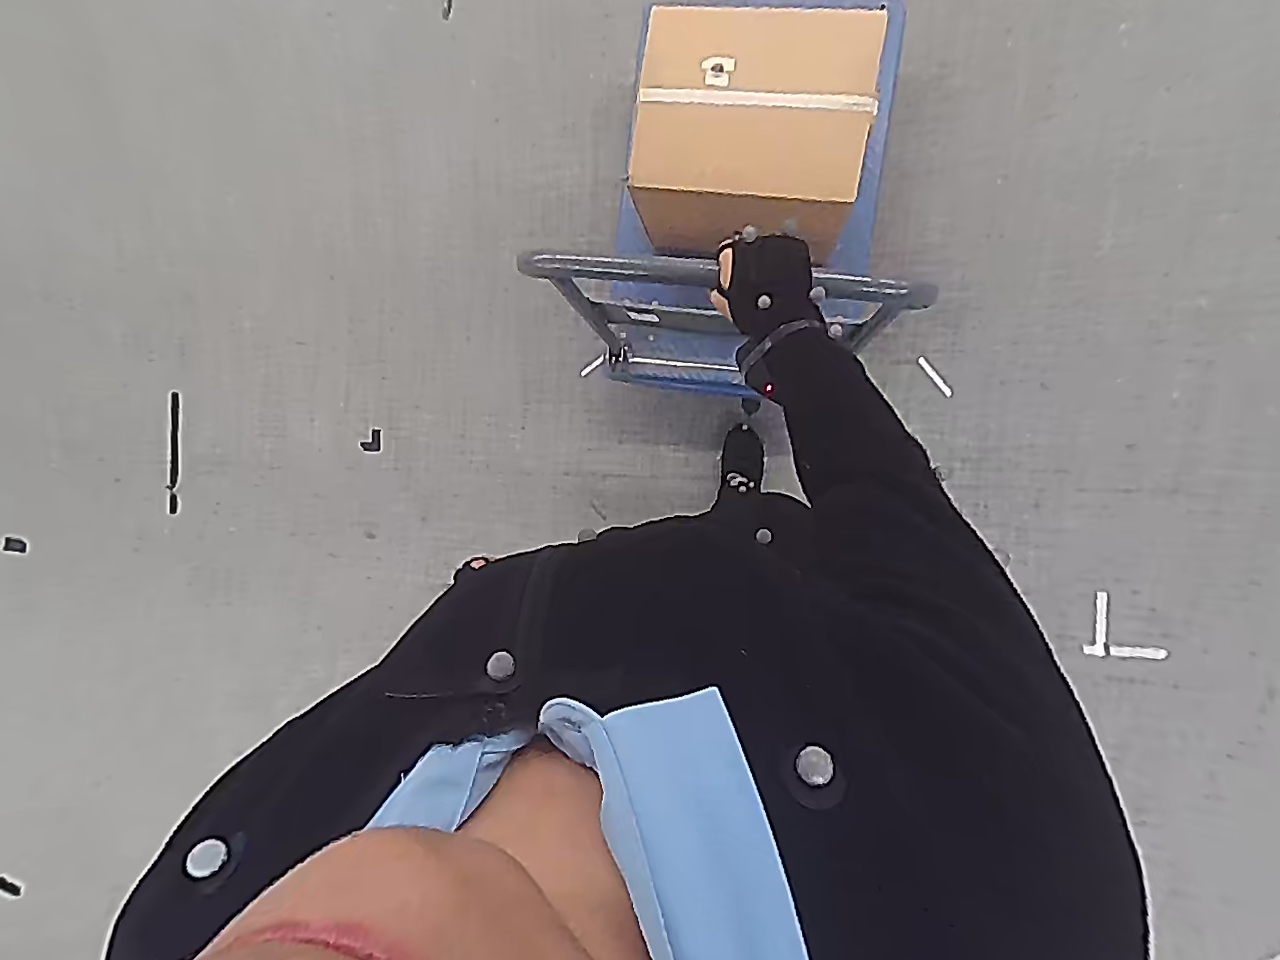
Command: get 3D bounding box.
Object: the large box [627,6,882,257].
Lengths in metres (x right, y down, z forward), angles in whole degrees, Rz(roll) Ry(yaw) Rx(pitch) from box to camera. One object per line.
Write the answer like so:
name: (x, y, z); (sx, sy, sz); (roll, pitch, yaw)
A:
large box: (0.217, -0.659, 1.077); (0.408, 0.320, 0.320); (9, 93, 11)
